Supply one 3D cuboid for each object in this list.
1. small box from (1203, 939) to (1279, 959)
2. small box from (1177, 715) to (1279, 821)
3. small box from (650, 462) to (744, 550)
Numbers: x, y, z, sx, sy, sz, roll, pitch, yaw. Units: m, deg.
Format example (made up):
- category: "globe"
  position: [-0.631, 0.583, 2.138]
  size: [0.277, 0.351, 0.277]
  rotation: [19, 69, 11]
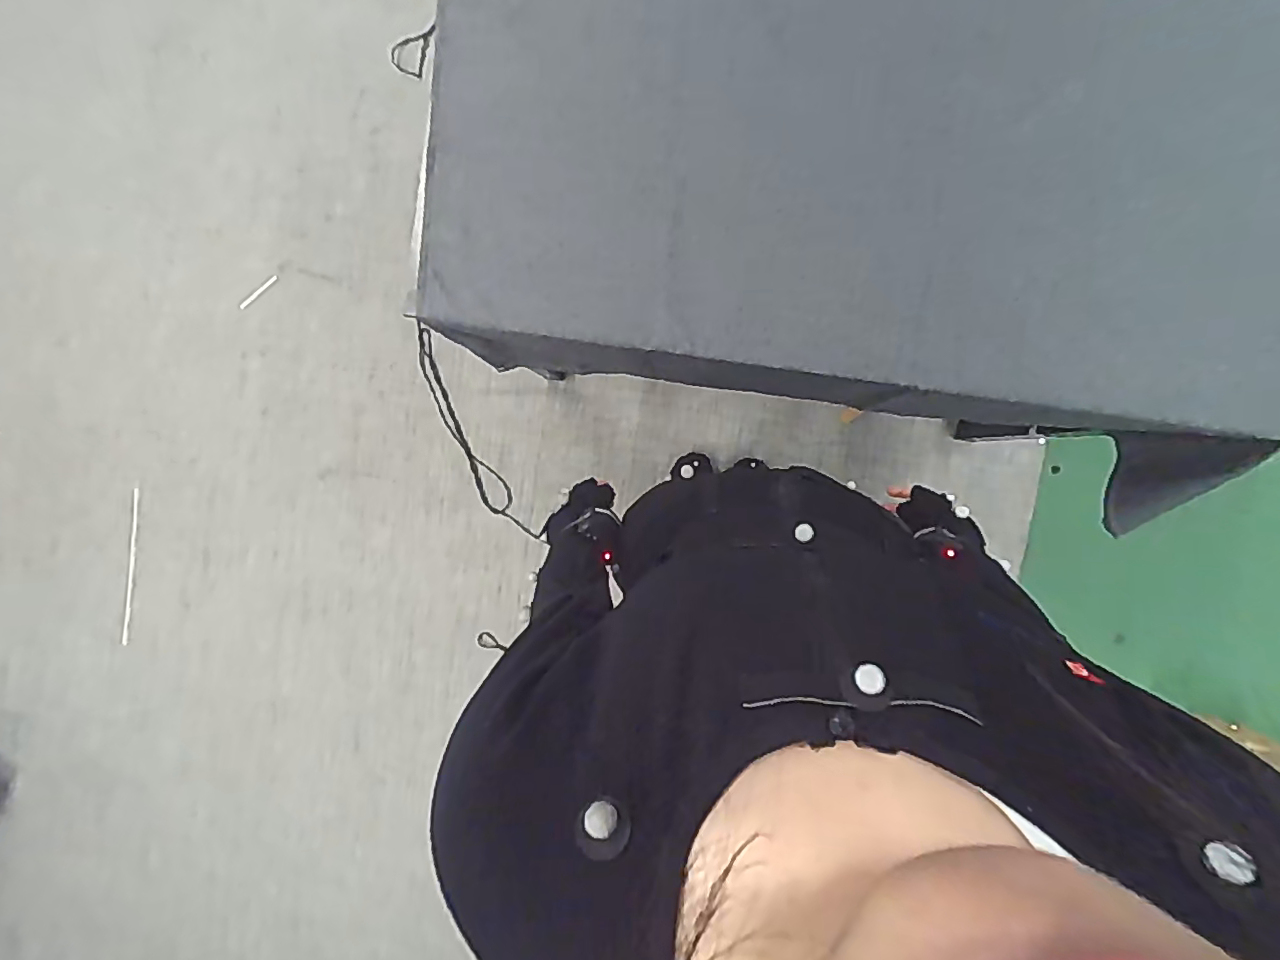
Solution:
- category: "small box"
  position: [1.392, 1.170, 1.191]
  size: [0.179, 0.176, 0.168]
  rotation: [9, 94, 4]
- category: "small box"
  position: [1.495, 0.706, 1.327]
  size: [0.179, 0.176, 0.168]
  rotation: [14, 94, 4]
- category: "small box"
  position: [0.146, 0.066, 1.430]
  size: [0.168, 0.176, 0.179]
  rotation: [-47, 72, 16]
